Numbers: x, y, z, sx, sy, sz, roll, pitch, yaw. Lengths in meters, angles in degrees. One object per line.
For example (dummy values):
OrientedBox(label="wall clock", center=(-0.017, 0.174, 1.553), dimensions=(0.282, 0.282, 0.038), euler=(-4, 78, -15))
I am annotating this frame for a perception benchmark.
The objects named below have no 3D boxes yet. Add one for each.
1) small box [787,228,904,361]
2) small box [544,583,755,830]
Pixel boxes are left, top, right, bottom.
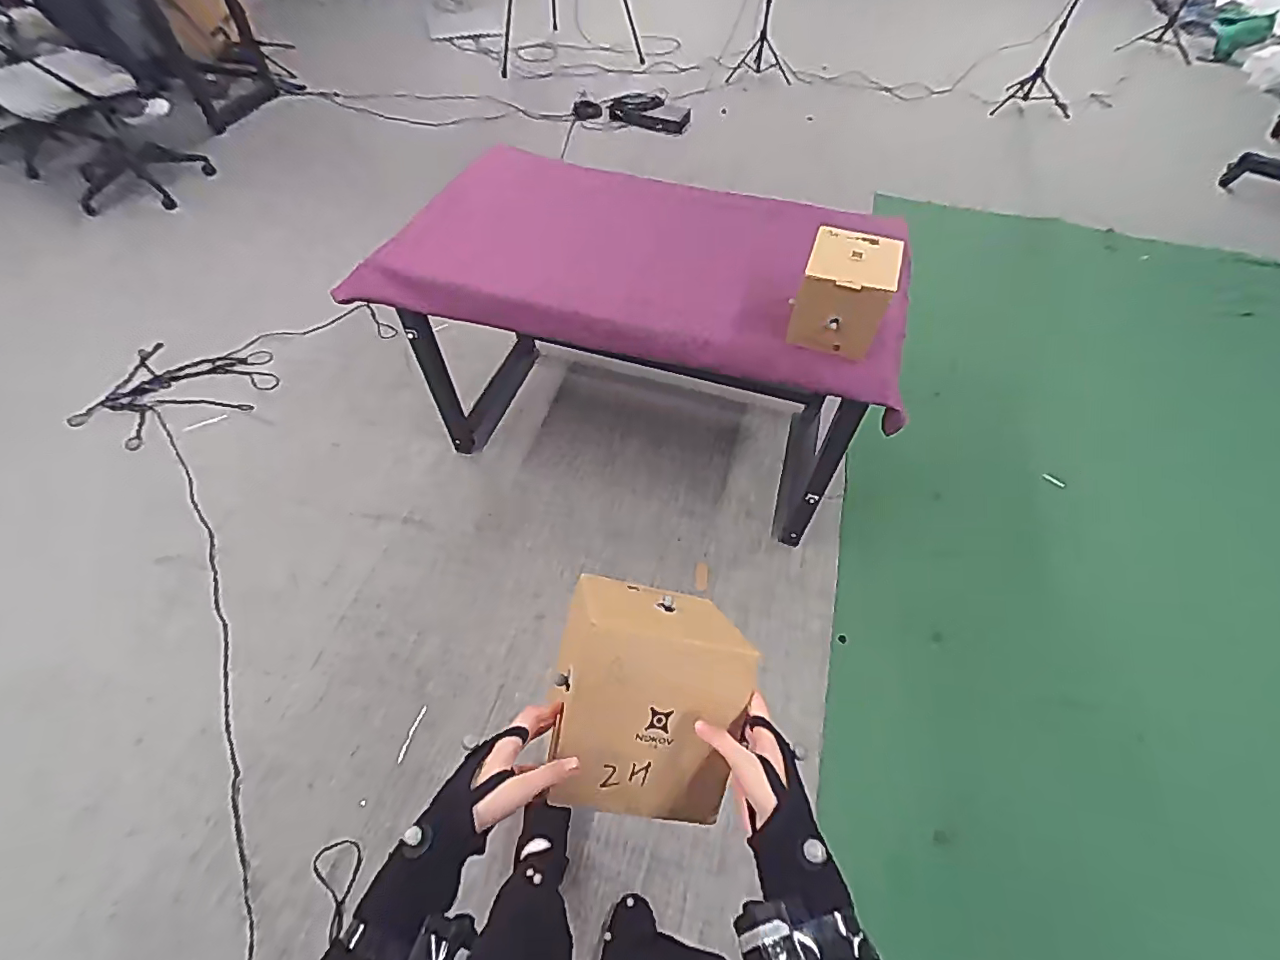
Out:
OrientedBox(label="small box", center=(0.403, -0.367, 1.080), dimensions=(0.168, 0.176, 0.179), euler=(17, 58, 12))
OrientedBox(label="small box", center=(-0.002, 0.223, 0.573), dimensions=(0.168, 0.176, 0.179), euler=(14, 93, -9))
